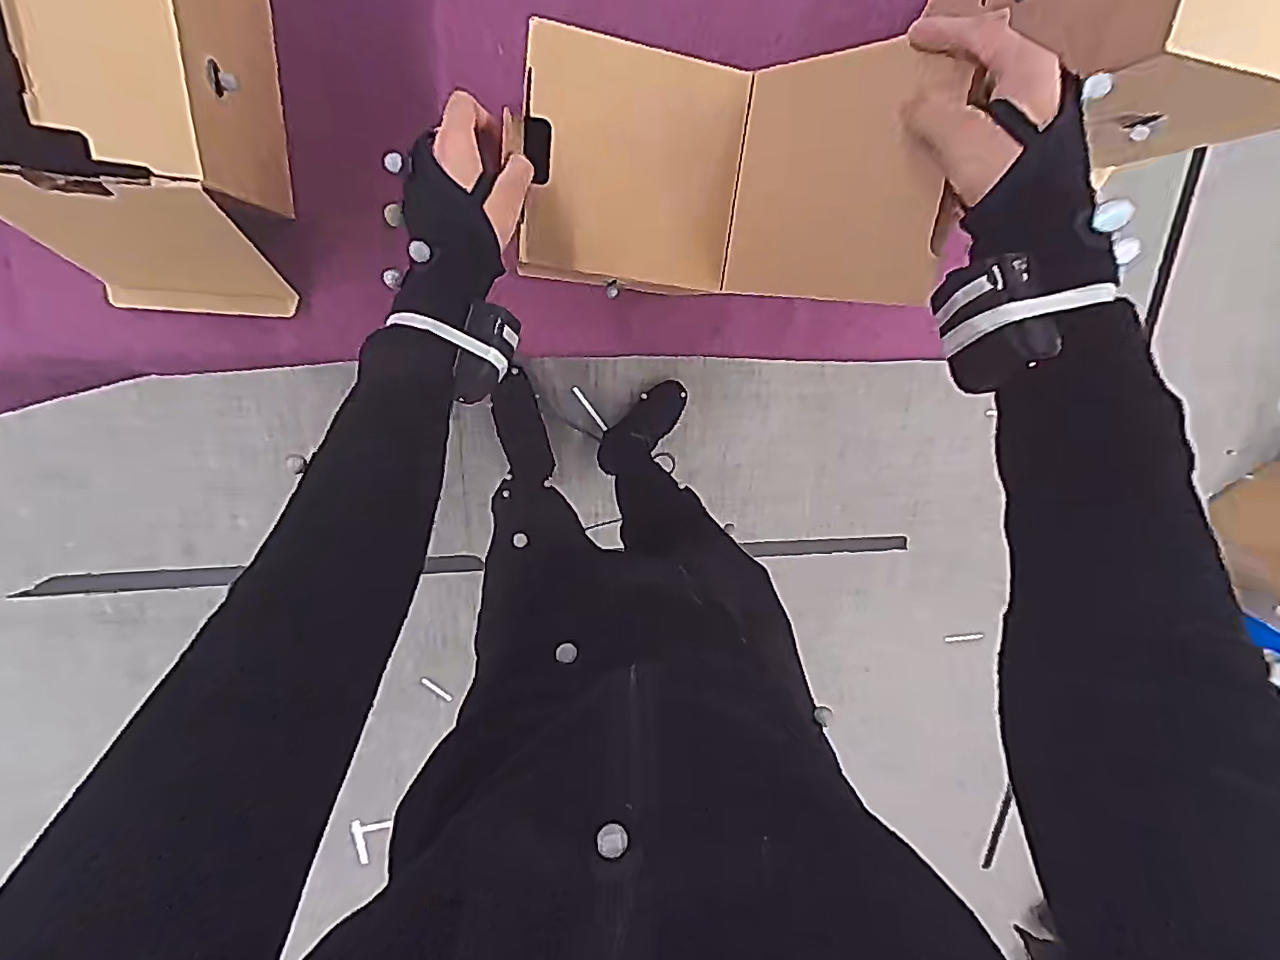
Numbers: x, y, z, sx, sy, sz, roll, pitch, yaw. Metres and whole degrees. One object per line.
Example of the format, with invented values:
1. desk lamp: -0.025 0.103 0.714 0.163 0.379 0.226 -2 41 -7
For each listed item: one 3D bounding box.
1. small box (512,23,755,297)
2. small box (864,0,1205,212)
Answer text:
1. small box: -0.021 -0.265 0.496 0.179 0.176 0.168 4 108 -14
2. small box: 0.369 -0.390 0.536 0.179 0.176 0.168 24 101 -18
